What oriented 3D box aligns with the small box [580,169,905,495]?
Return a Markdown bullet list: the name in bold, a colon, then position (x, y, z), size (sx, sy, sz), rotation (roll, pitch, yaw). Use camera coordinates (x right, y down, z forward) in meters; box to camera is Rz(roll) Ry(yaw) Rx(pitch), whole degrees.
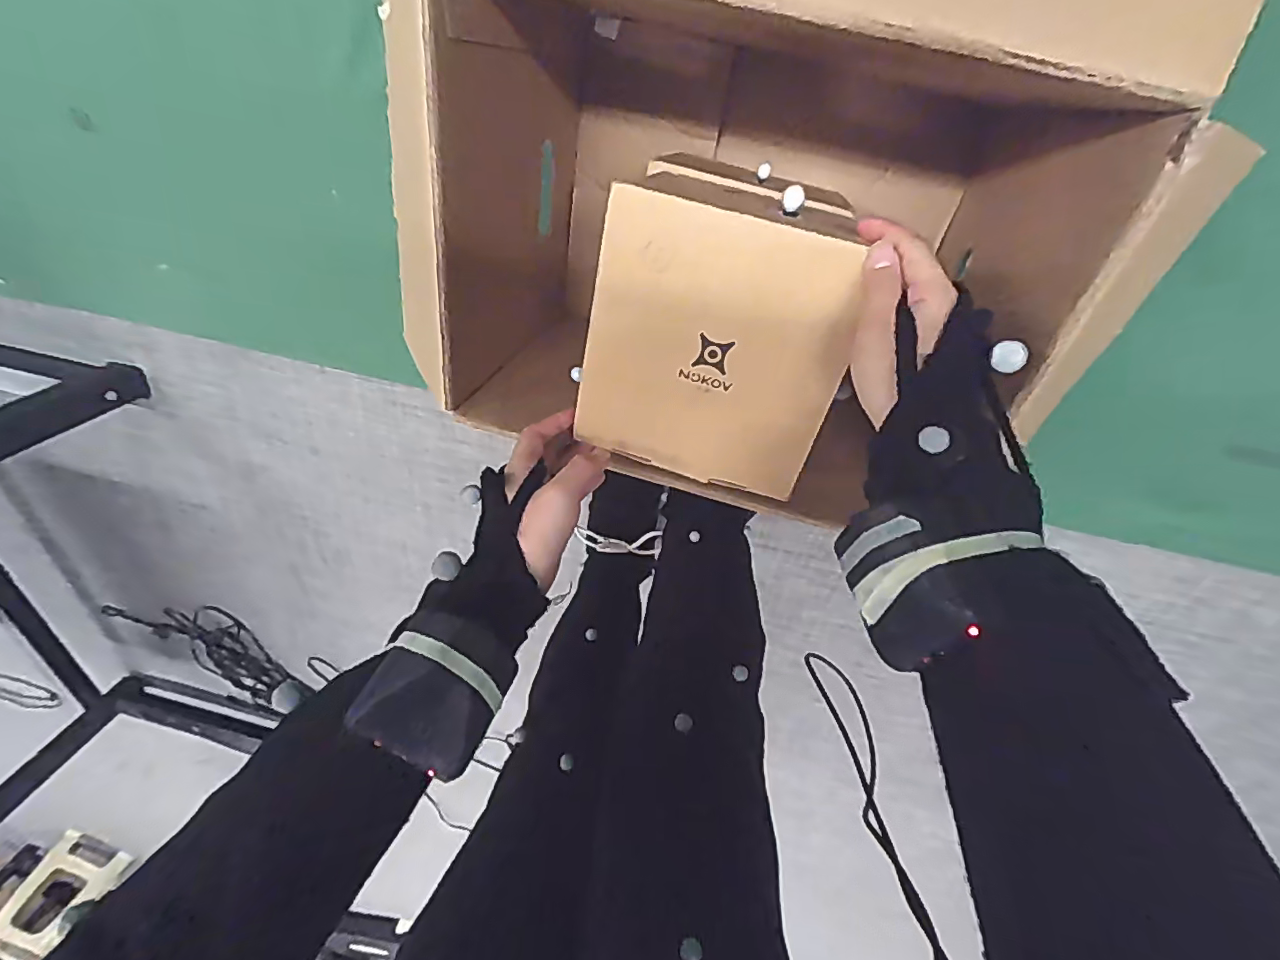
- **small box**: position (0.066, -0.122, 0.412), size (0.168, 0.176, 0.179), rotation (16, 124, 3)
